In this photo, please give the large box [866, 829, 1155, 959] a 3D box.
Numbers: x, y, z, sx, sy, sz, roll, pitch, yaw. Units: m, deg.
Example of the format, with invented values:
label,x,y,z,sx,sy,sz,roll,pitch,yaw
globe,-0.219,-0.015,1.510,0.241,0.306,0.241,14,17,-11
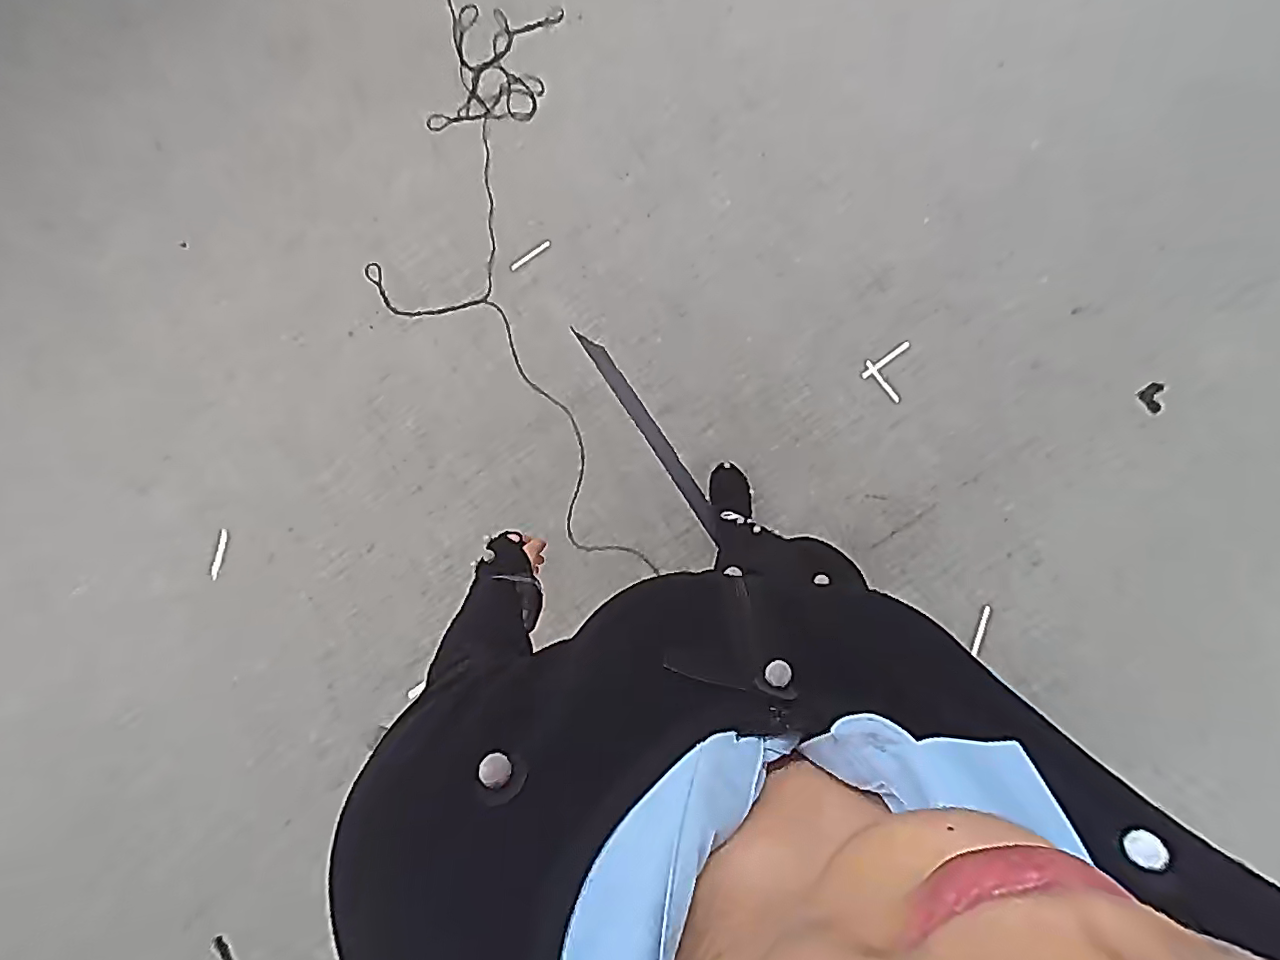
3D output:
label,x,y,z,sx,sy,sz,roll,pitch,yaw
large box,0.725,0.969,1.033,0.408,0.320,0.320,-27,82,3
